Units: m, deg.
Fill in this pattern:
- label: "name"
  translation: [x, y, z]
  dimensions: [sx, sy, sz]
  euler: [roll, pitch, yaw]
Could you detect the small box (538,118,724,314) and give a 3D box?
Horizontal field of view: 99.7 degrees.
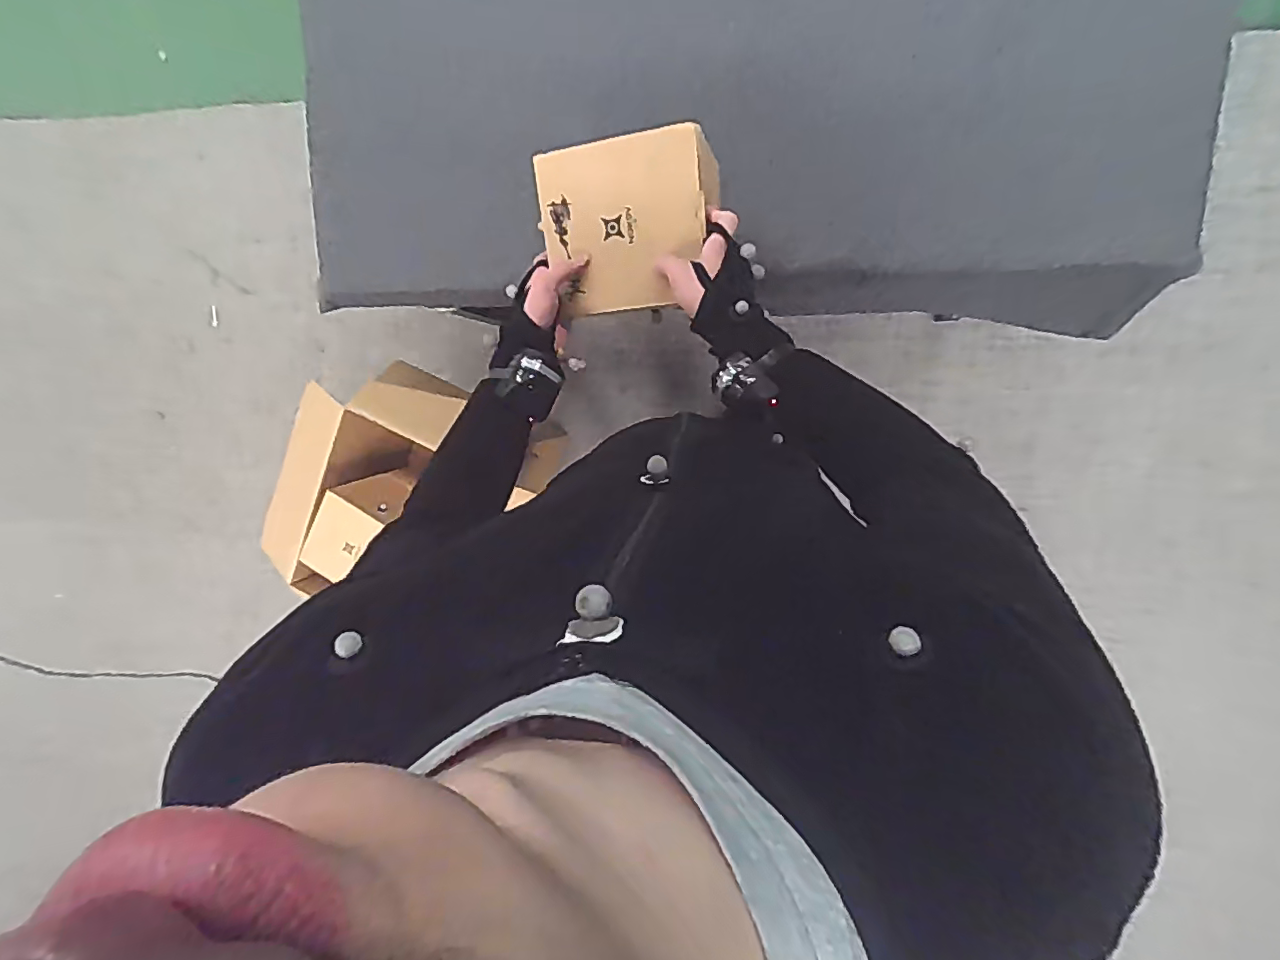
- label: "small box"
  translation: [0.004, -0.288, 0.626]
  dimensions: [0.179, 0.176, 0.168]
  euler: [-2, 106, 15]
